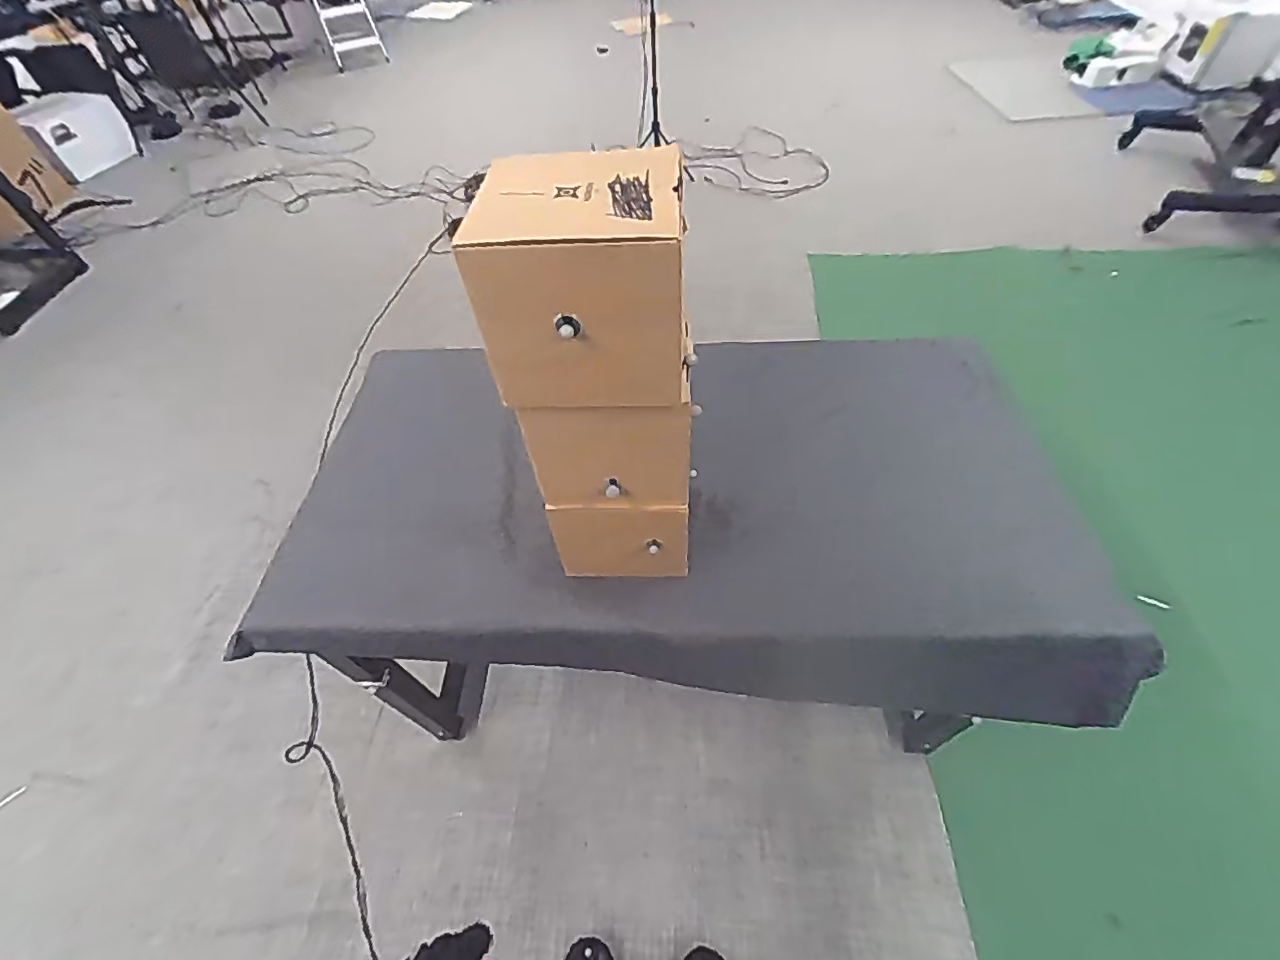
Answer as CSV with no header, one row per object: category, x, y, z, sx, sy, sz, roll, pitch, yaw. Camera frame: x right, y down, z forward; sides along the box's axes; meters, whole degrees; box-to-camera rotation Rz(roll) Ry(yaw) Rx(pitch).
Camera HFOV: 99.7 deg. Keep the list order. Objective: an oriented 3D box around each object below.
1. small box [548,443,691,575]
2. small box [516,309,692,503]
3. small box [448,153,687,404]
small box,-0.018,0.024,0.767,0.179,0.176,0.168,-2,50,5
small box,-0.030,-0.084,0.645,0.179,0.176,0.168,0,51,4
small box,-0.048,-0.187,0.514,0.179,0.176,0.168,2,50,6
